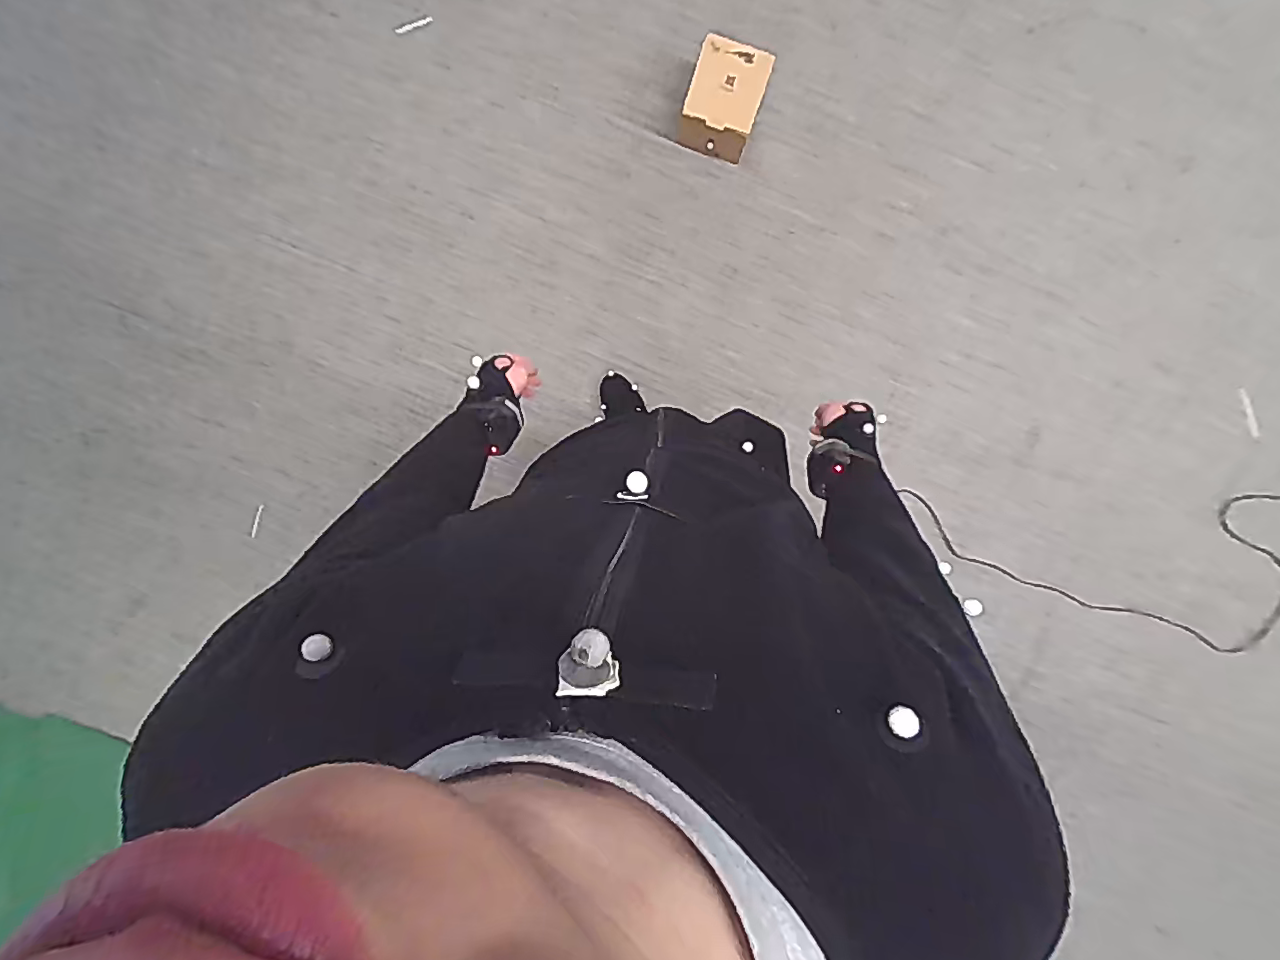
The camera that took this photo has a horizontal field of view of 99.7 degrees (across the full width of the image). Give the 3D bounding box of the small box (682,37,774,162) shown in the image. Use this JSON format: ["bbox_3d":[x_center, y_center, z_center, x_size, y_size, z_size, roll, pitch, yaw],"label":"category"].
[{"bbox_3d":[0.206,-0.911,1.315,0.168,0.176,0.179,18,101,-1],"label":"small box"}]
